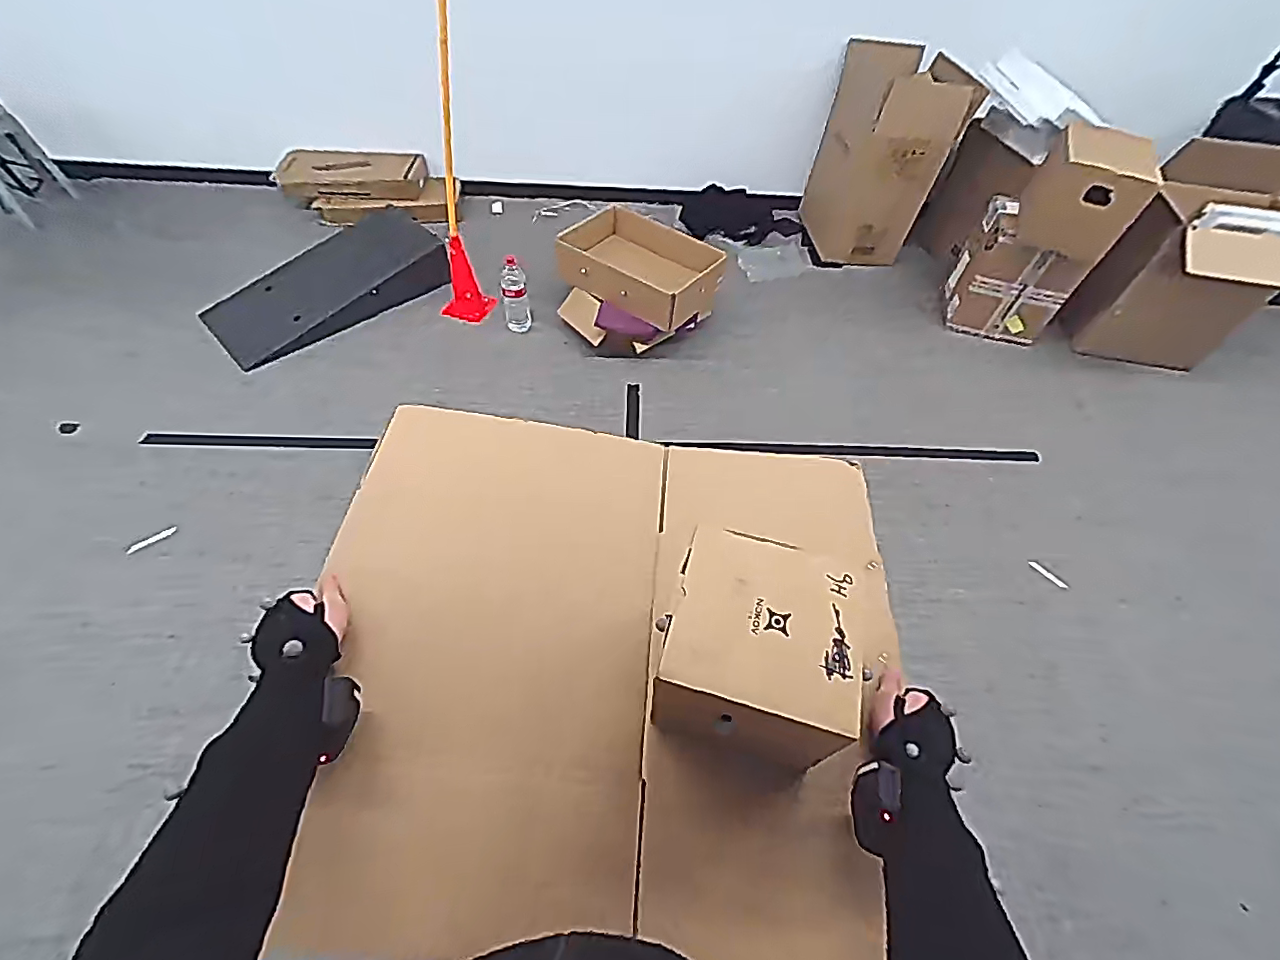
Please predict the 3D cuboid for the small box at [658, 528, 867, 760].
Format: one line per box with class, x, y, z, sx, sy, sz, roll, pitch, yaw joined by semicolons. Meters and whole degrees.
small box;0.122;0.178;0.573;0.179;0.176;0.168;13;55;10
